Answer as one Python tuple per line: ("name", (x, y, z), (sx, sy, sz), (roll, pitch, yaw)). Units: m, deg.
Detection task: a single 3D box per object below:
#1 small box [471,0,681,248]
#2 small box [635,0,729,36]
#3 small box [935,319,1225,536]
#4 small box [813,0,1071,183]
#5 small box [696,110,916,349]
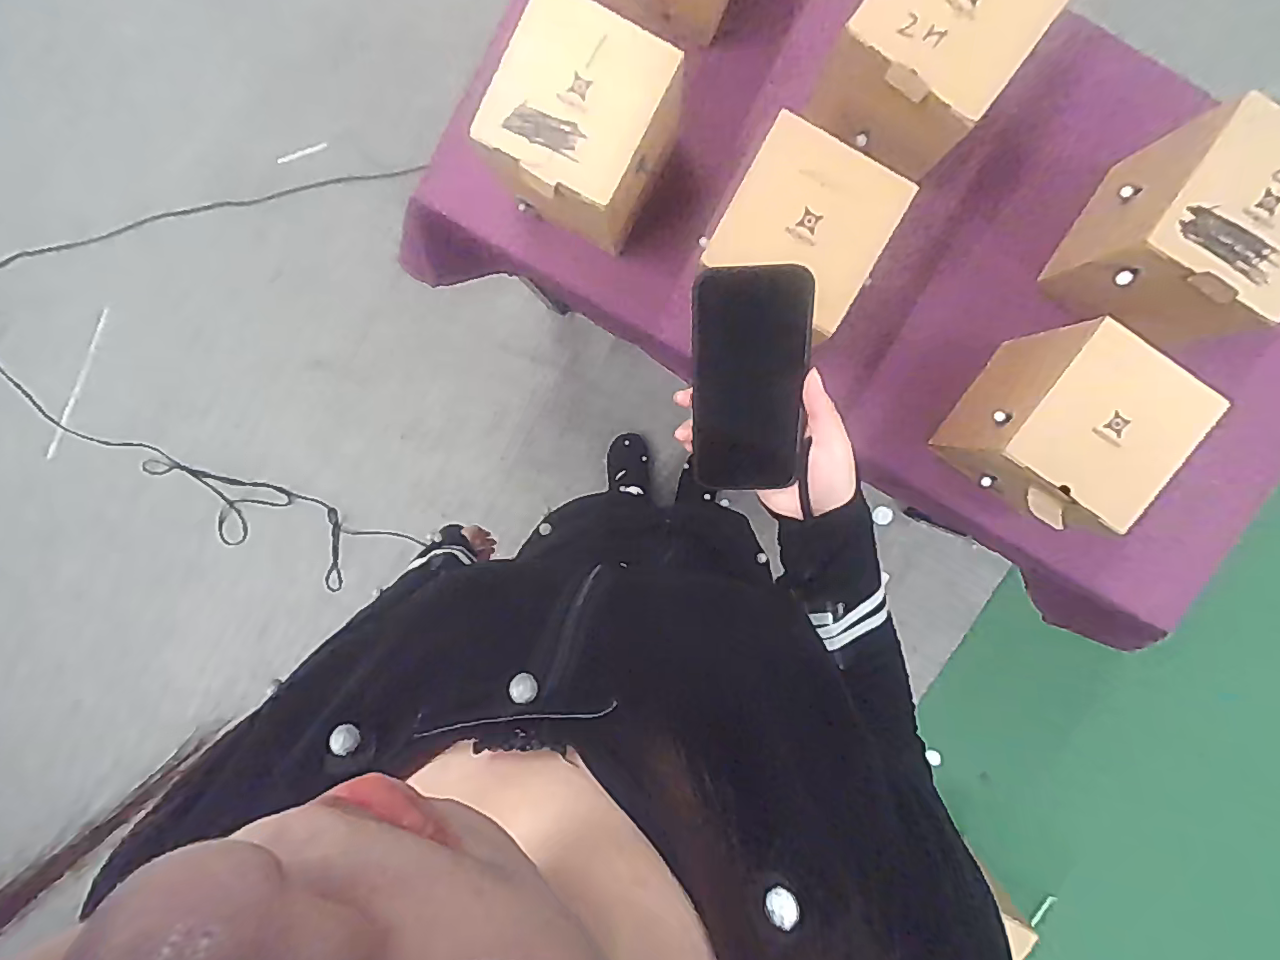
("small box", (-0.064, -0.406, 0.635), (0.168, 0.176, 0.179), (28, 96, -2))
("small box", (0.050, -0.659, 0.602), (0.168, 0.176, 0.179), (25, 98, -1))
("small box", (0.504, -0.063, 0.653), (0.168, 0.176, 0.179), (35, 97, -2))
("small box", (0.325, -0.482, 0.611), (0.168, 0.176, 0.179), (37, 97, -2))
("small box", (0.177, -0.274, 0.643), (0.168, 0.176, 0.179), (30, 96, -2))
